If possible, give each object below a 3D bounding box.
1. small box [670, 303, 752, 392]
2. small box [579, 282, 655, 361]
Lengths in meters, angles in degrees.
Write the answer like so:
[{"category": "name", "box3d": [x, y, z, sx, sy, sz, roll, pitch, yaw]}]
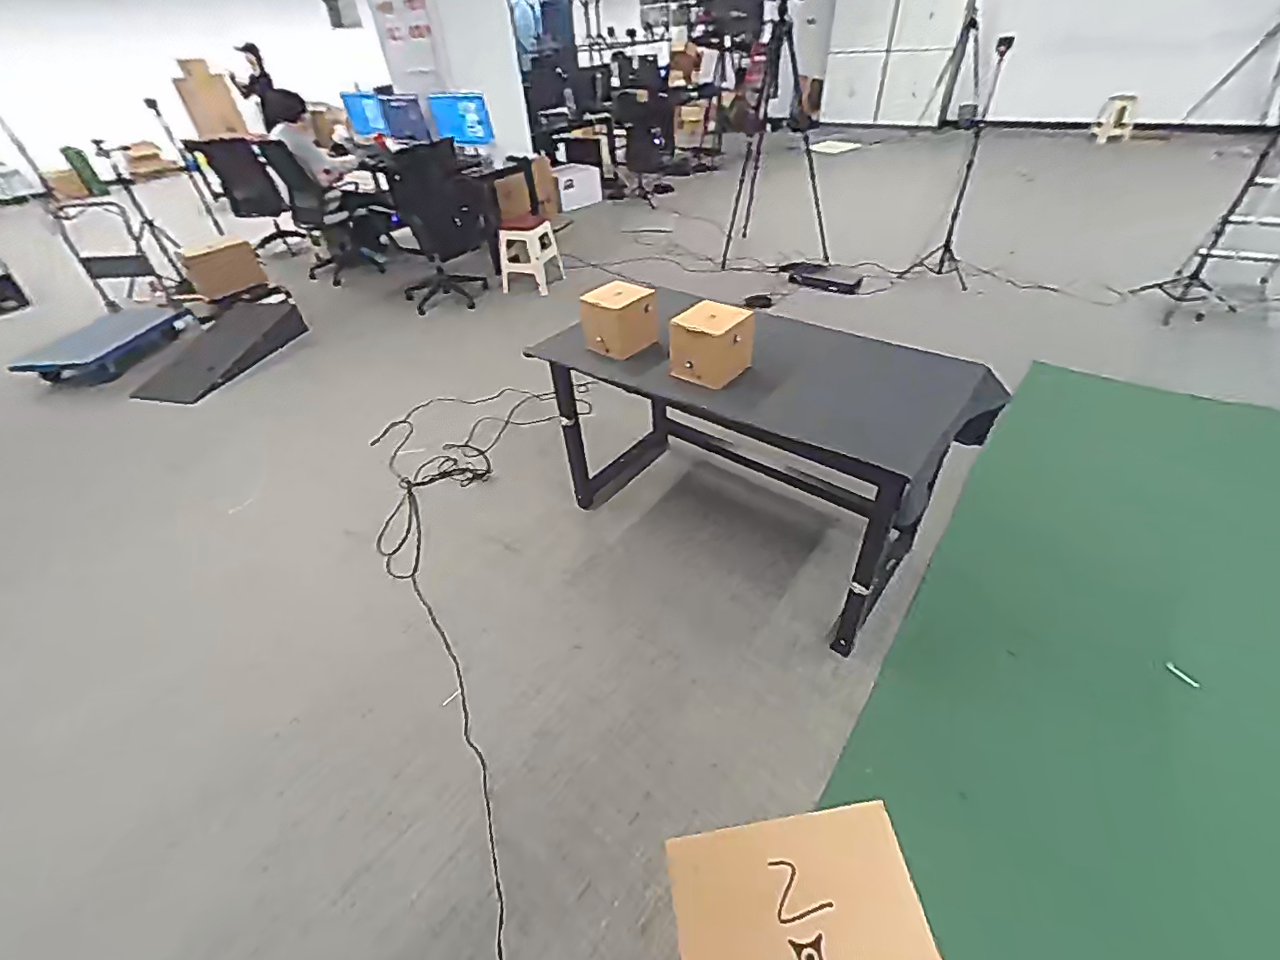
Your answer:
[{"category": "small box", "box3d": [0.197, -0.378, 1.538, 0.168, 0.176, 0.179, 27, 49, 31]}, {"category": "small box", "box3d": [-0.069, -0.498, 1.695, 0.168, 0.176, 0.179, 27, 48, 32]}]
